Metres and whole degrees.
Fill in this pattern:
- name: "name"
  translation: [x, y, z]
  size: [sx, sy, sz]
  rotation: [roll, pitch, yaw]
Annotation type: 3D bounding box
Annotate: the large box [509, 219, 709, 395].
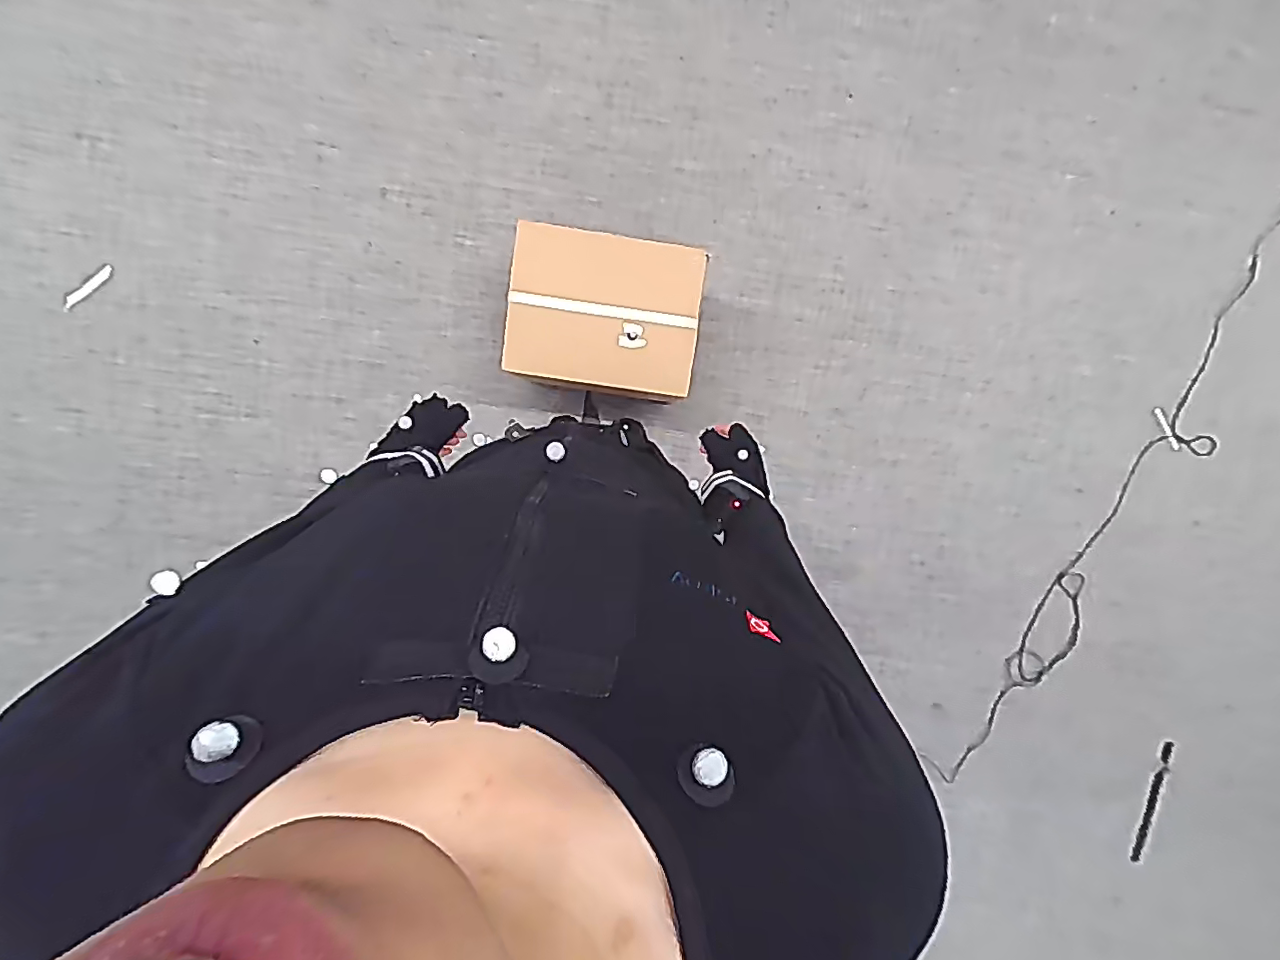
- name: "large box"
  translation: [-0.076, -0.386, 1.293]
  size: [0.408, 0.320, 0.320]
  rotation: [7, 97, -4]
